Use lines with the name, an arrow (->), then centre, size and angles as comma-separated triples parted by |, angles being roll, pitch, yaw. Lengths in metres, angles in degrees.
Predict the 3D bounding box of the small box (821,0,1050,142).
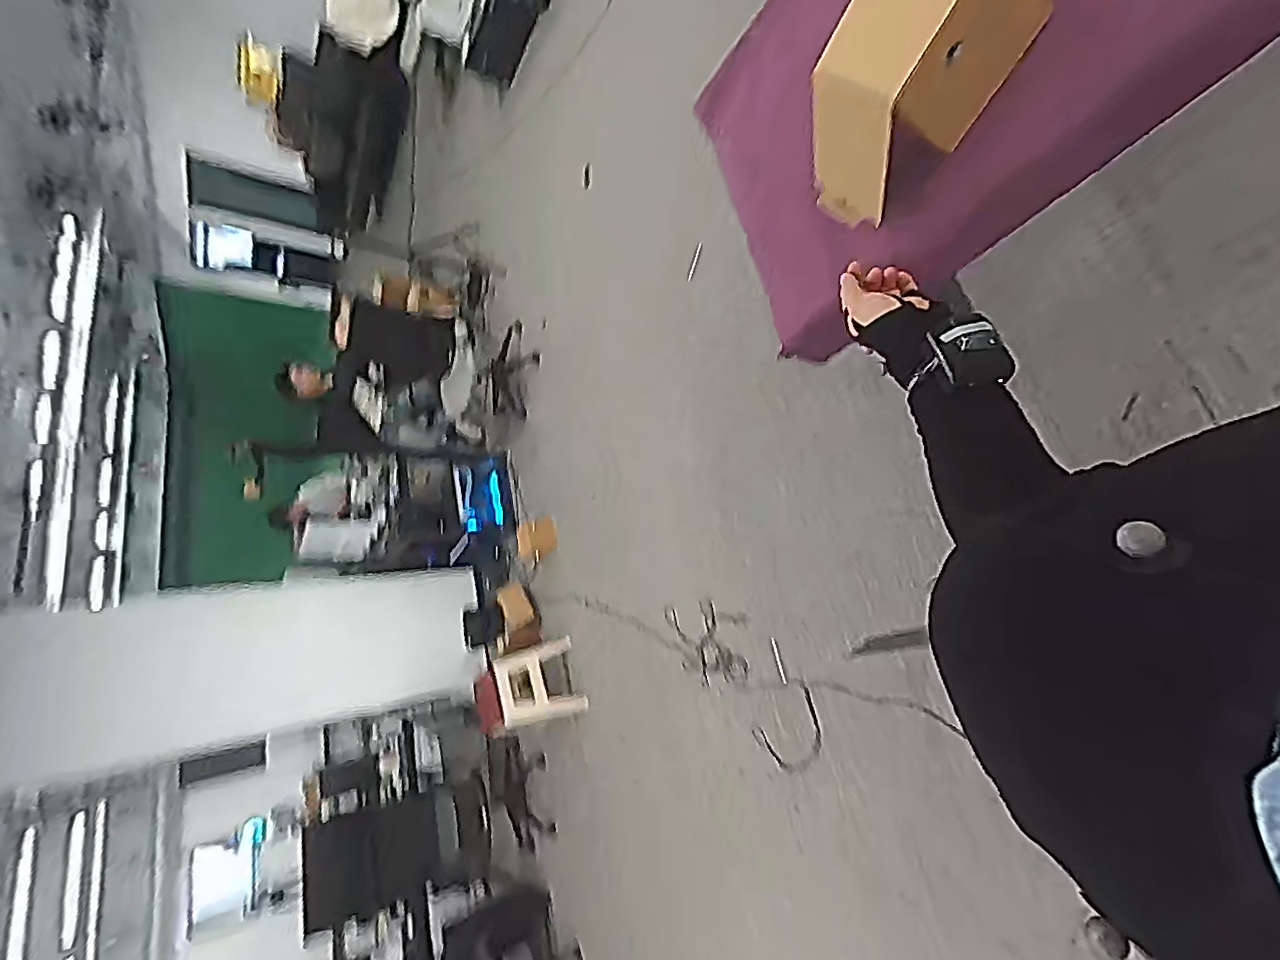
small box -> 0.390, -0.591, 0.720 | 0.179, 0.176, 0.168 | -58, 47, 34
